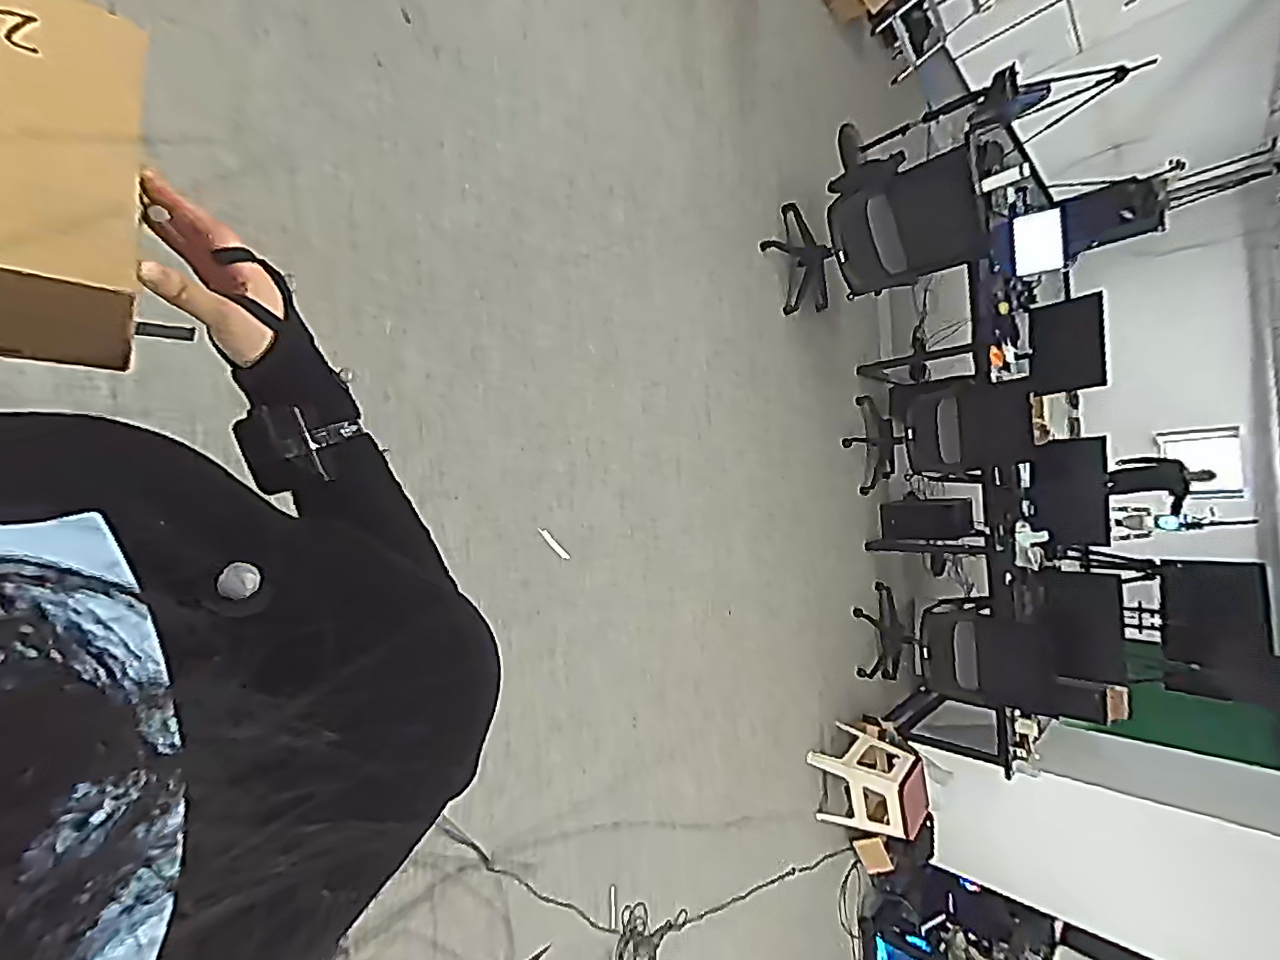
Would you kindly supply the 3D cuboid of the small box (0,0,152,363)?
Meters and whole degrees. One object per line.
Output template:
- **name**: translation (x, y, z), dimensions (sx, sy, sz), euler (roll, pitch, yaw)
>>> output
- **small box**: translation (-0.409, -0.184, 0.321), dimensions (0.168, 0.176, 0.179), euler (3, 79, -46)
